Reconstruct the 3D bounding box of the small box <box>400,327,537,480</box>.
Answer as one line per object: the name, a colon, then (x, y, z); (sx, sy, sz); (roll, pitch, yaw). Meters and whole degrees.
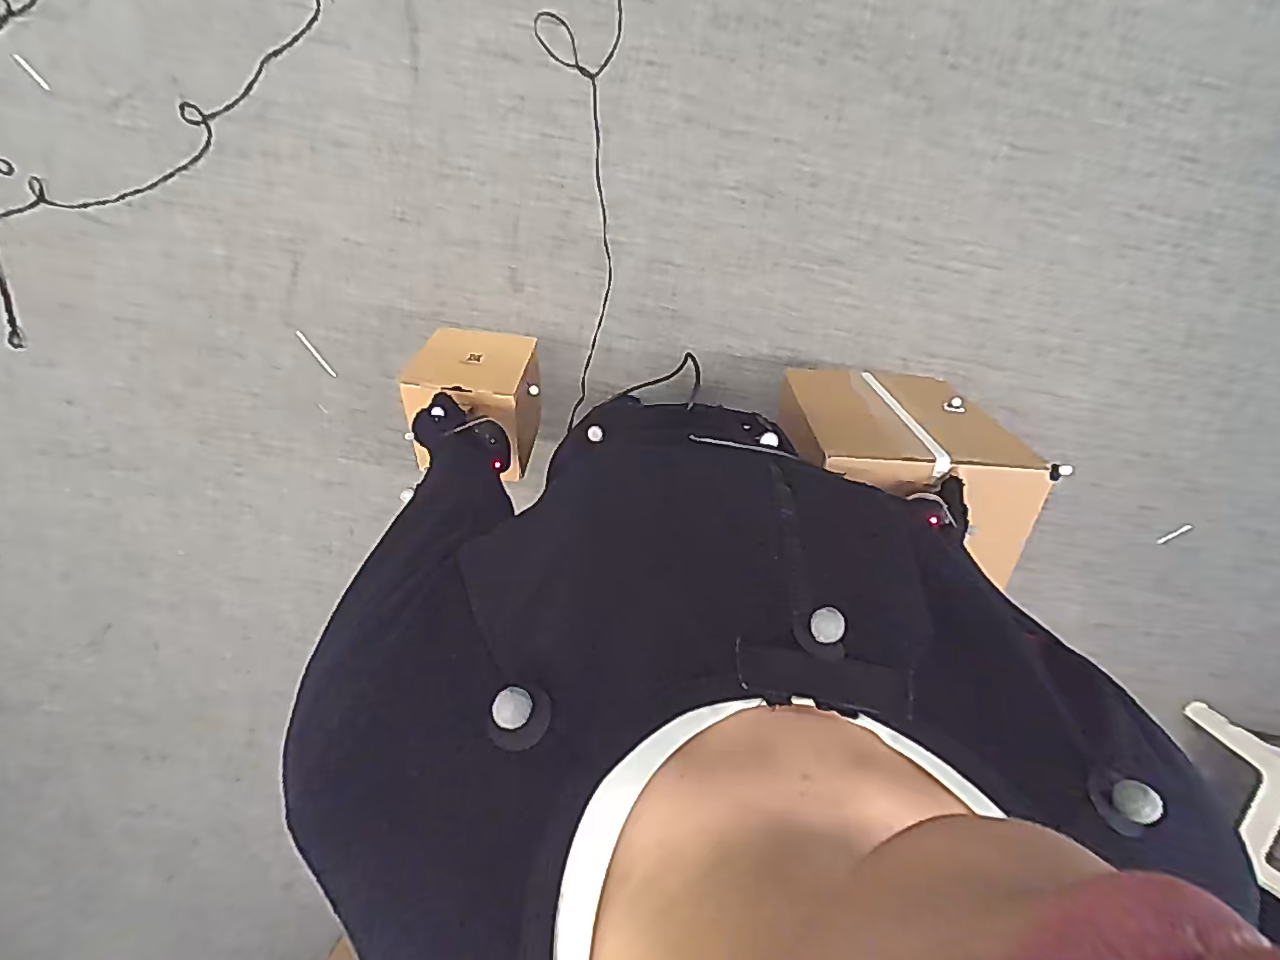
small box: (-0.265, -0.125, 0.882); (0.168, 0.179, 0.176); (6, 133, -1)
